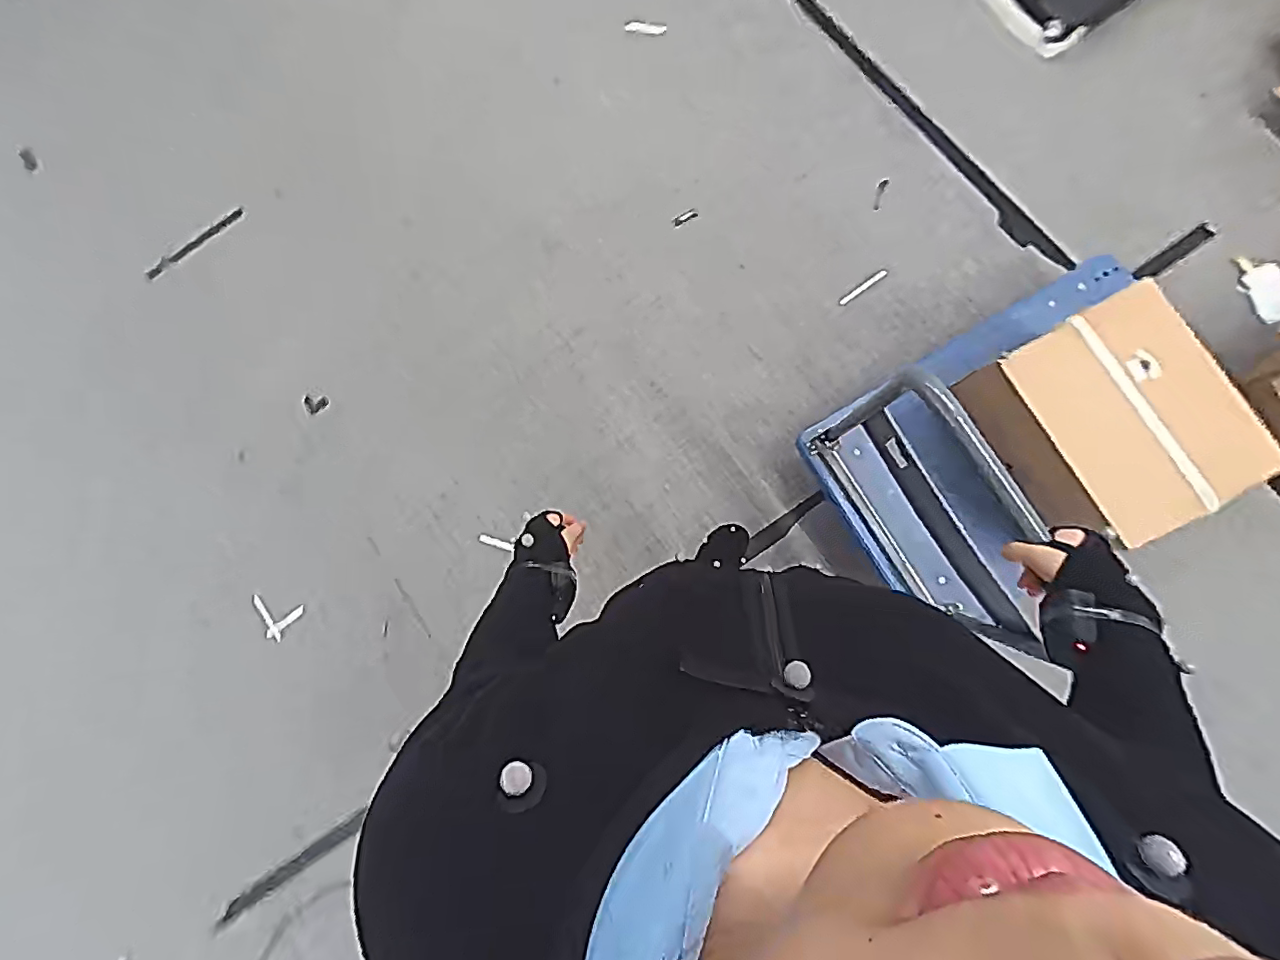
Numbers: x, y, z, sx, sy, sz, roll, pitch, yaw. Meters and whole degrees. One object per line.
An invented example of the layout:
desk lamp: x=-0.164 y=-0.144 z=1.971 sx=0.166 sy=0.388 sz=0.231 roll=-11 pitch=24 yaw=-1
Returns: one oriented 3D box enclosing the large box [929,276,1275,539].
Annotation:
large box: x=0.907 y=-0.123 z=1.133 sx=0.320 sy=0.320 sz=0.408 roll=-30 pitch=81 yaw=2
